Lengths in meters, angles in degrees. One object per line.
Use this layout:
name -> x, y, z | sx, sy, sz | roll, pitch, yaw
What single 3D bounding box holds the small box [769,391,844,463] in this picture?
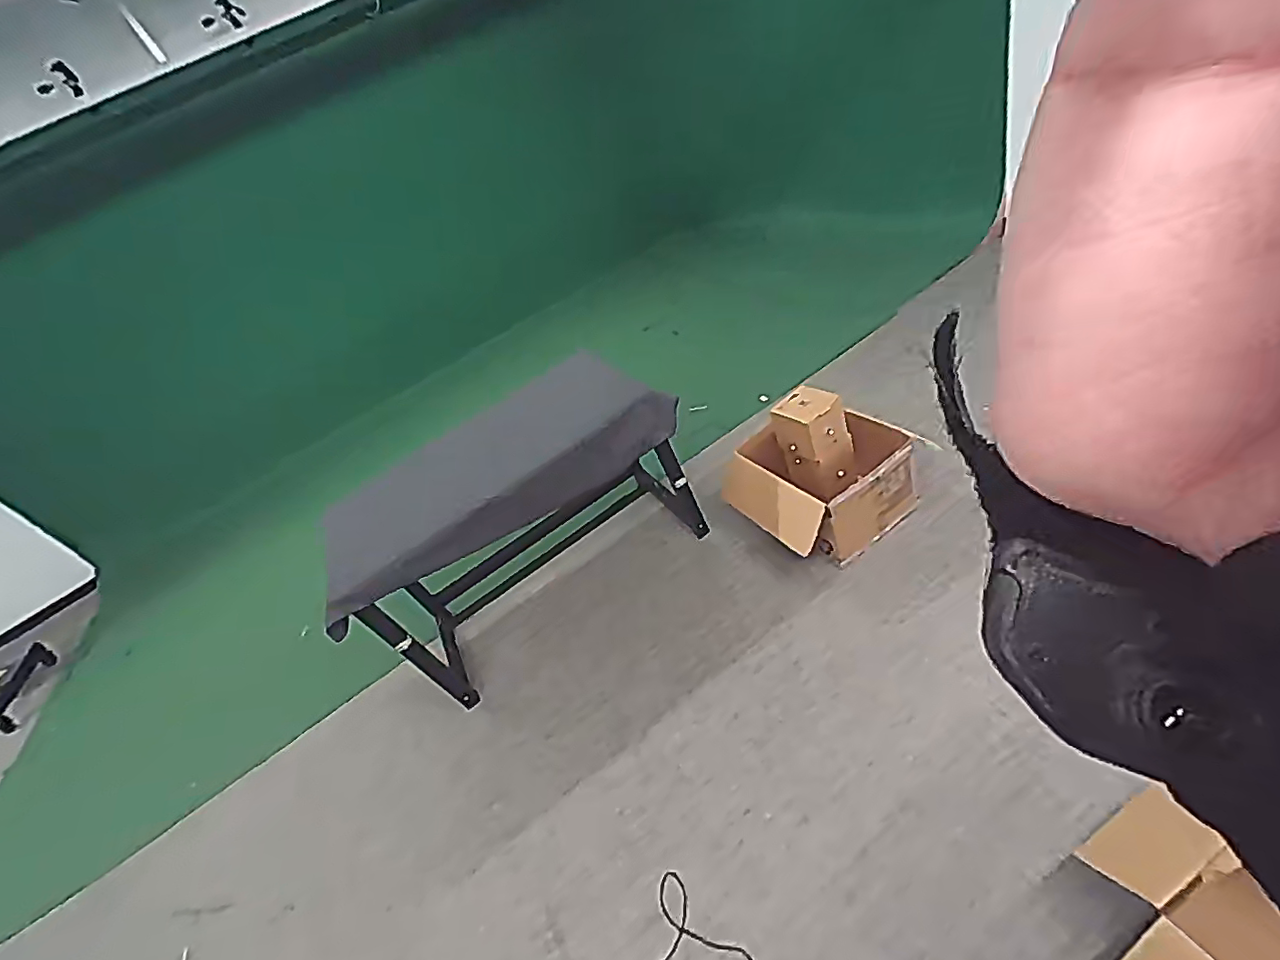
small box -> 0.588, -0.181, 1.893 | 0.168, 0.176, 0.179 | -39, 37, -17
